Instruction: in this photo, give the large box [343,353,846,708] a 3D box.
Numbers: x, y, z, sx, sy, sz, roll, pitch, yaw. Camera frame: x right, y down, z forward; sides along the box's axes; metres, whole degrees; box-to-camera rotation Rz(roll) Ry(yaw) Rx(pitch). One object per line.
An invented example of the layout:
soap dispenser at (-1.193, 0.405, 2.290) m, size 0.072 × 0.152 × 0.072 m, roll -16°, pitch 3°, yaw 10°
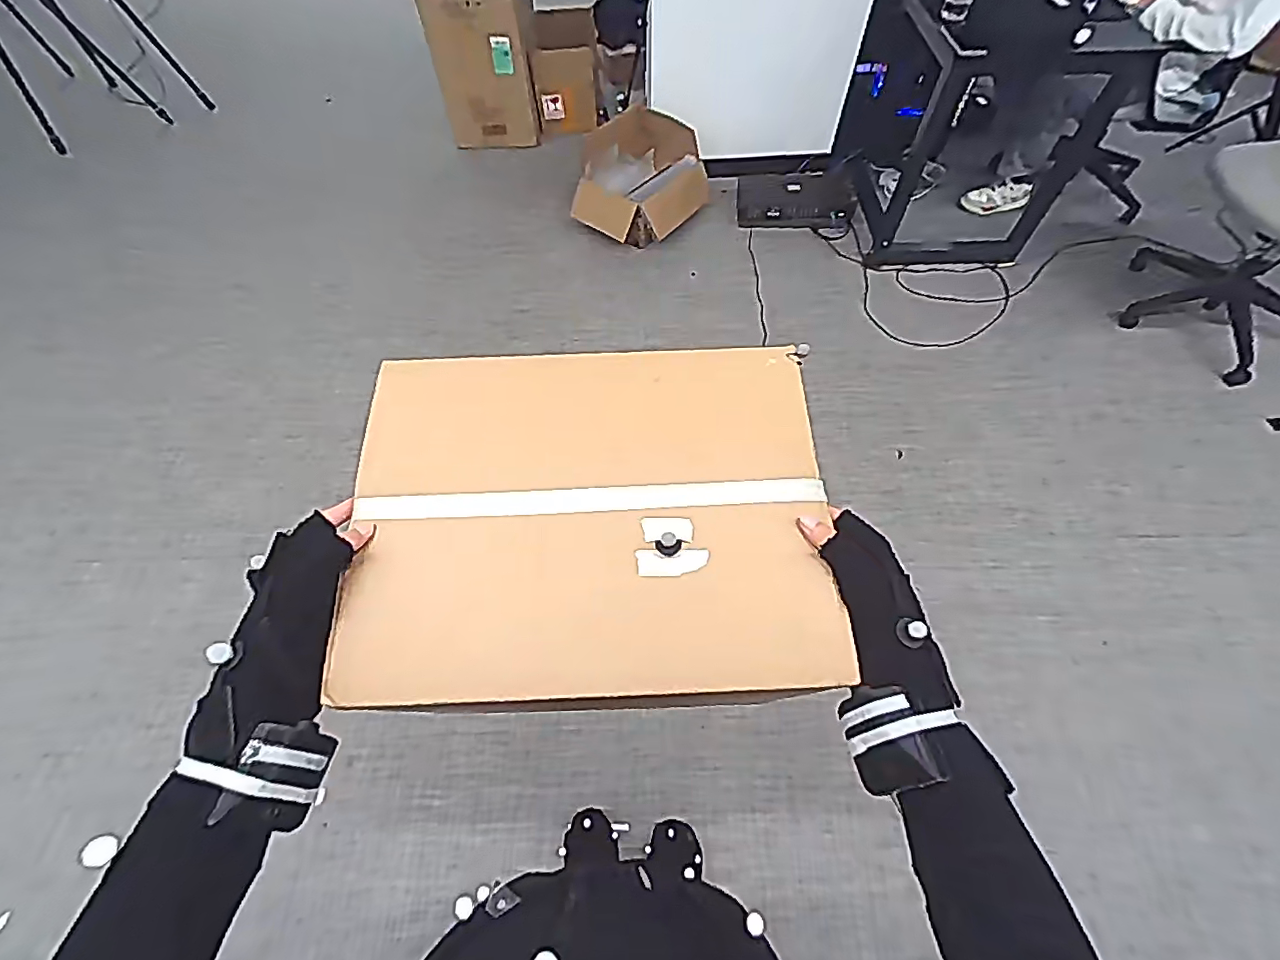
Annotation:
large box at (-0.041, 0.080, 0.617) m, size 0.408 × 0.320 × 0.320 m, roll -2°, pitch 66°, yaw 0°
